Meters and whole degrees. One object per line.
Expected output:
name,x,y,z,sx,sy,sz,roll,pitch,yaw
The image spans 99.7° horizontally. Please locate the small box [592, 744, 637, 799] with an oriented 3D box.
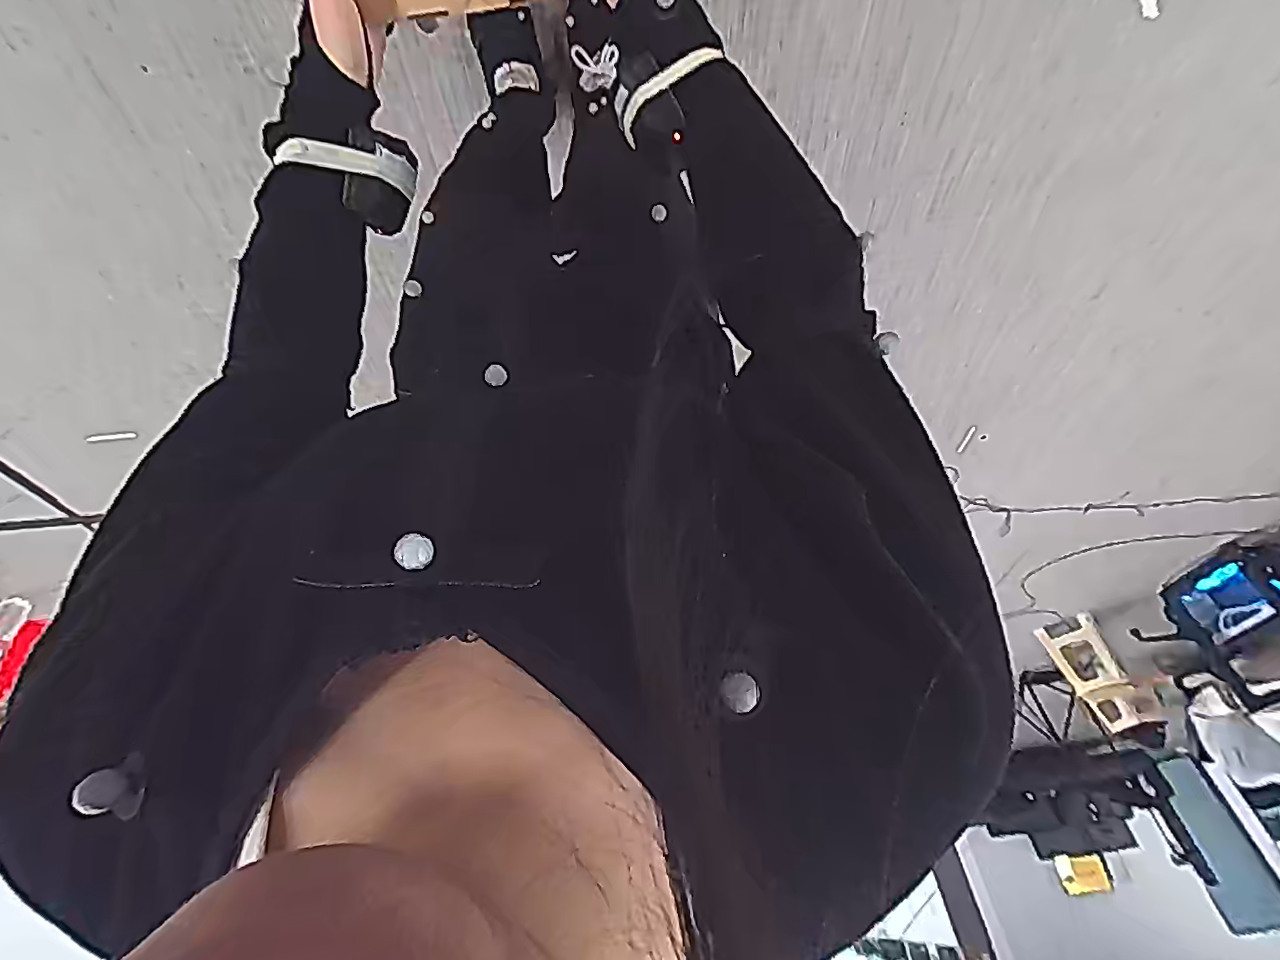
small box,-0.105,1.195,2.224,0.168,0.176,0.179,-5,141,-1
